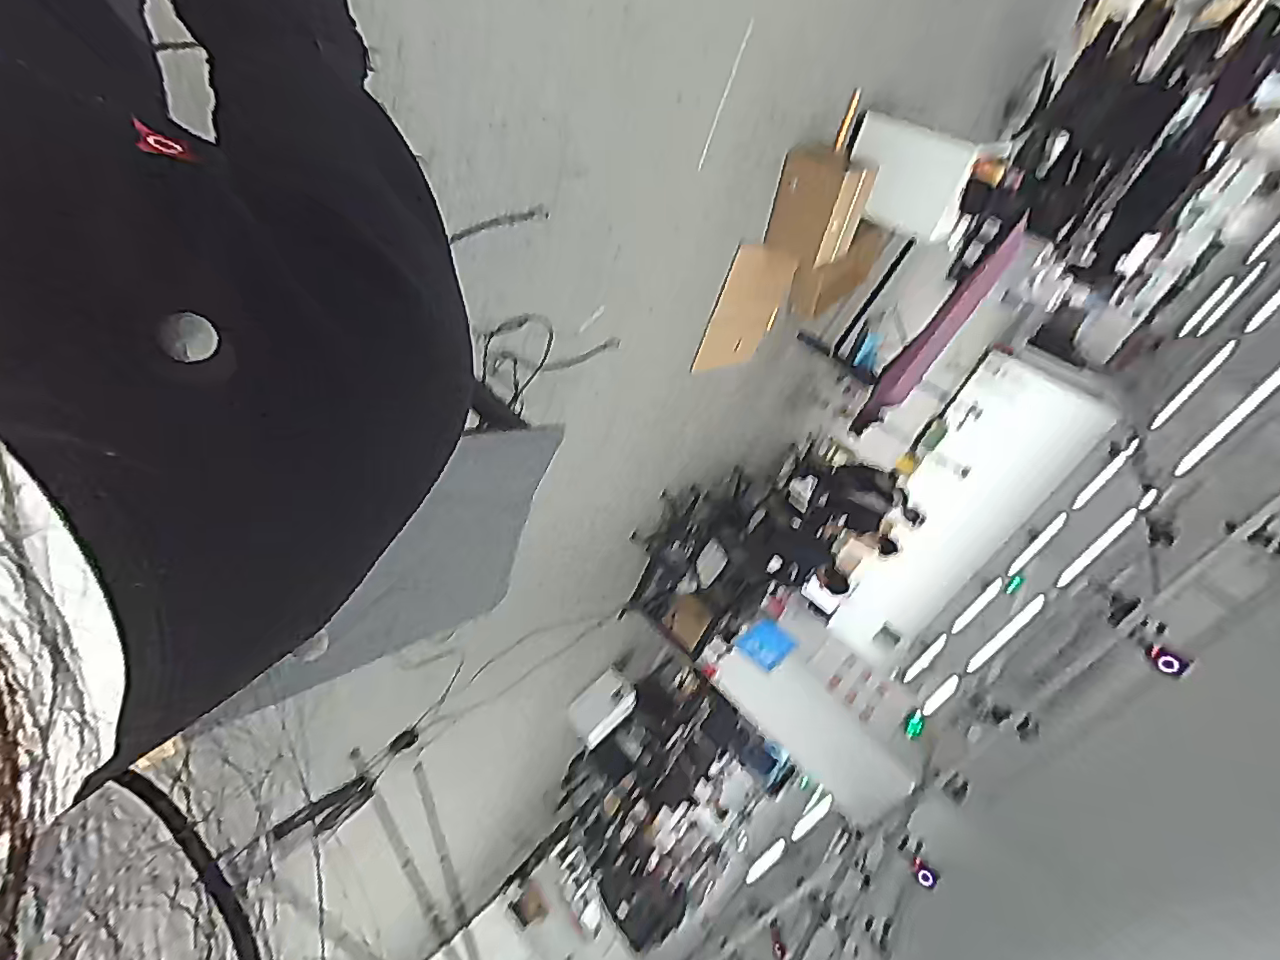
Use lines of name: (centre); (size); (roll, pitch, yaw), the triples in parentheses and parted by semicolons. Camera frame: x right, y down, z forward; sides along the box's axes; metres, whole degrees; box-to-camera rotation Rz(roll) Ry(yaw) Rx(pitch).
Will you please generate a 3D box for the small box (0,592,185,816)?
small box: (-0.733, 0.282, 0.709); (0.168, 0.176, 0.179); (-21, 142, -47)
